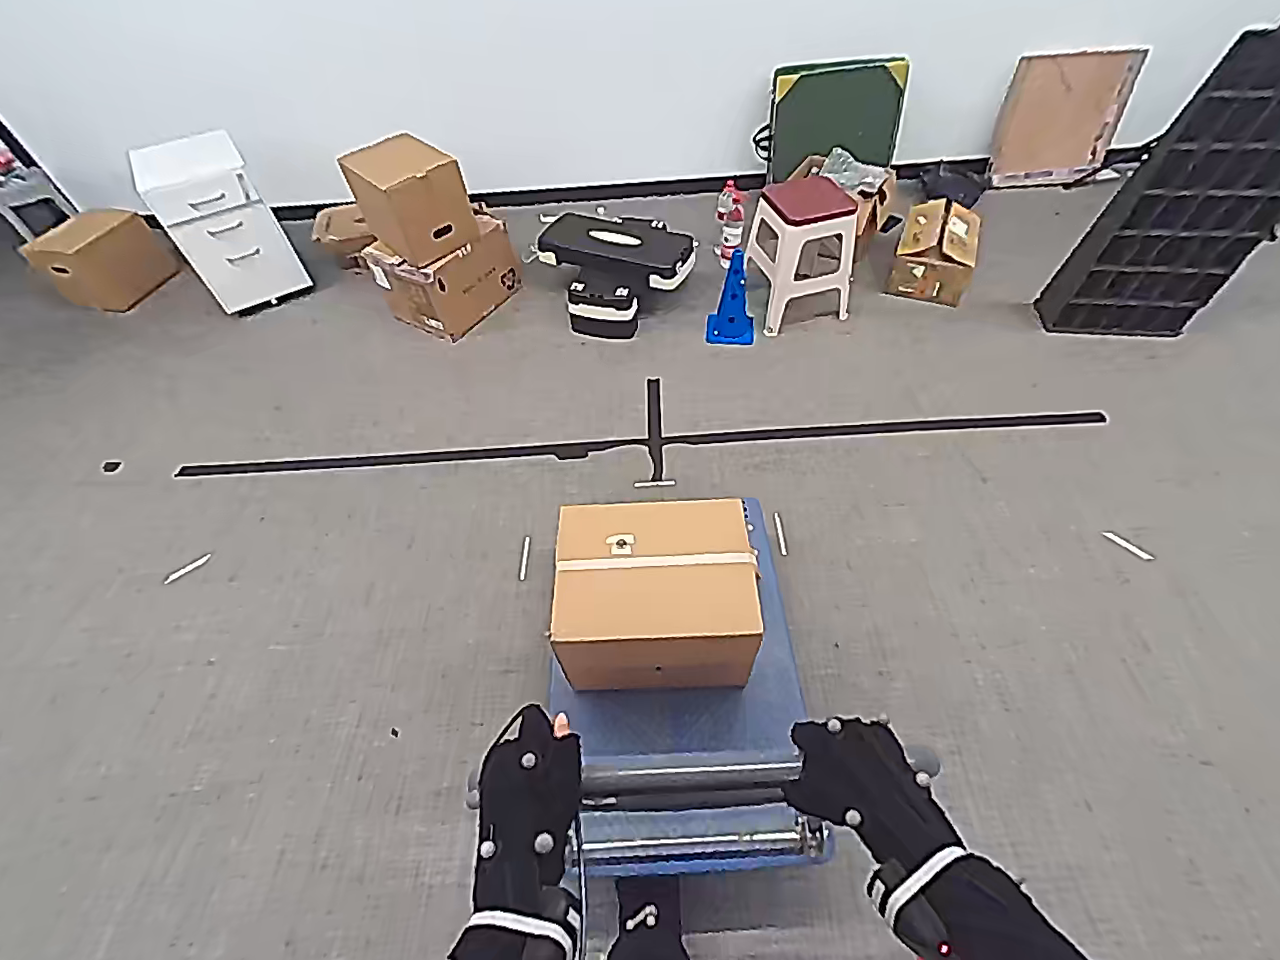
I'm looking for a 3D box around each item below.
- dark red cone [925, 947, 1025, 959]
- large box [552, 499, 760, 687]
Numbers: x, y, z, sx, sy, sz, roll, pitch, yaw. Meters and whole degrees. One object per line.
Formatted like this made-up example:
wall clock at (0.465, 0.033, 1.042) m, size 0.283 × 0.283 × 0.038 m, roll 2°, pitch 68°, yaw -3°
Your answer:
dark red cone at (0.641, 0.890, 0.861) m, size 0.201 × 0.394 × 0.202 m, roll -1°, pitch 52°, yaw 0°
large box at (0.034, 0.265, 1.228) m, size 0.408 × 0.320 × 0.320 m, roll -3°, pitch 52°, yaw 2°
